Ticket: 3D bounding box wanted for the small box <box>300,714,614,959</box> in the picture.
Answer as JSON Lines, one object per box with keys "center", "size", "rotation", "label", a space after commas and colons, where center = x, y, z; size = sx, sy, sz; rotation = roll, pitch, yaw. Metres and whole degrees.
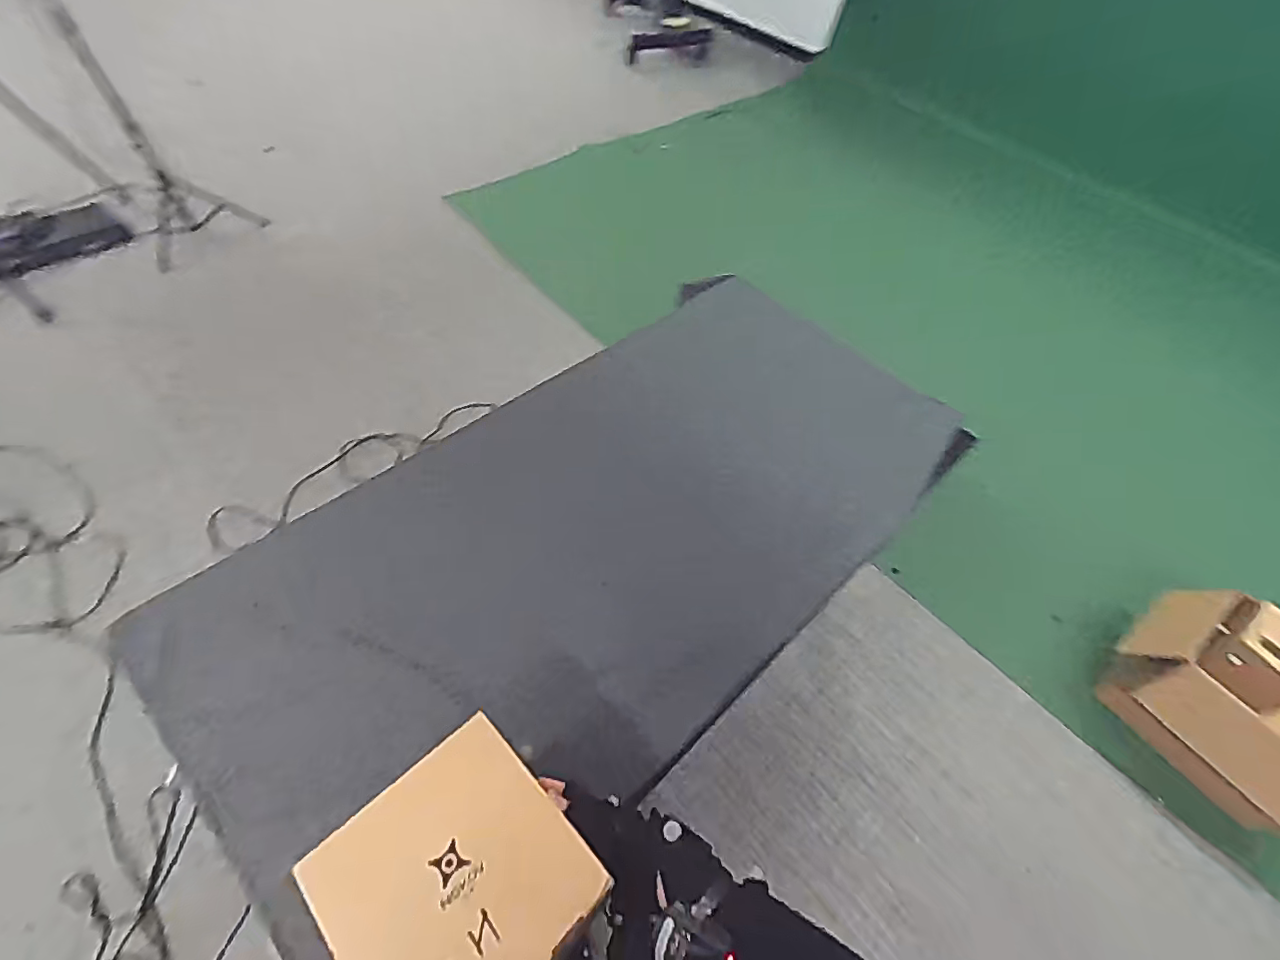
{"center": [-0.142, 0.346, 0.458], "size": [0.168, 0.176, 0.179], "rotation": [-34, 58, -31], "label": "small box"}
